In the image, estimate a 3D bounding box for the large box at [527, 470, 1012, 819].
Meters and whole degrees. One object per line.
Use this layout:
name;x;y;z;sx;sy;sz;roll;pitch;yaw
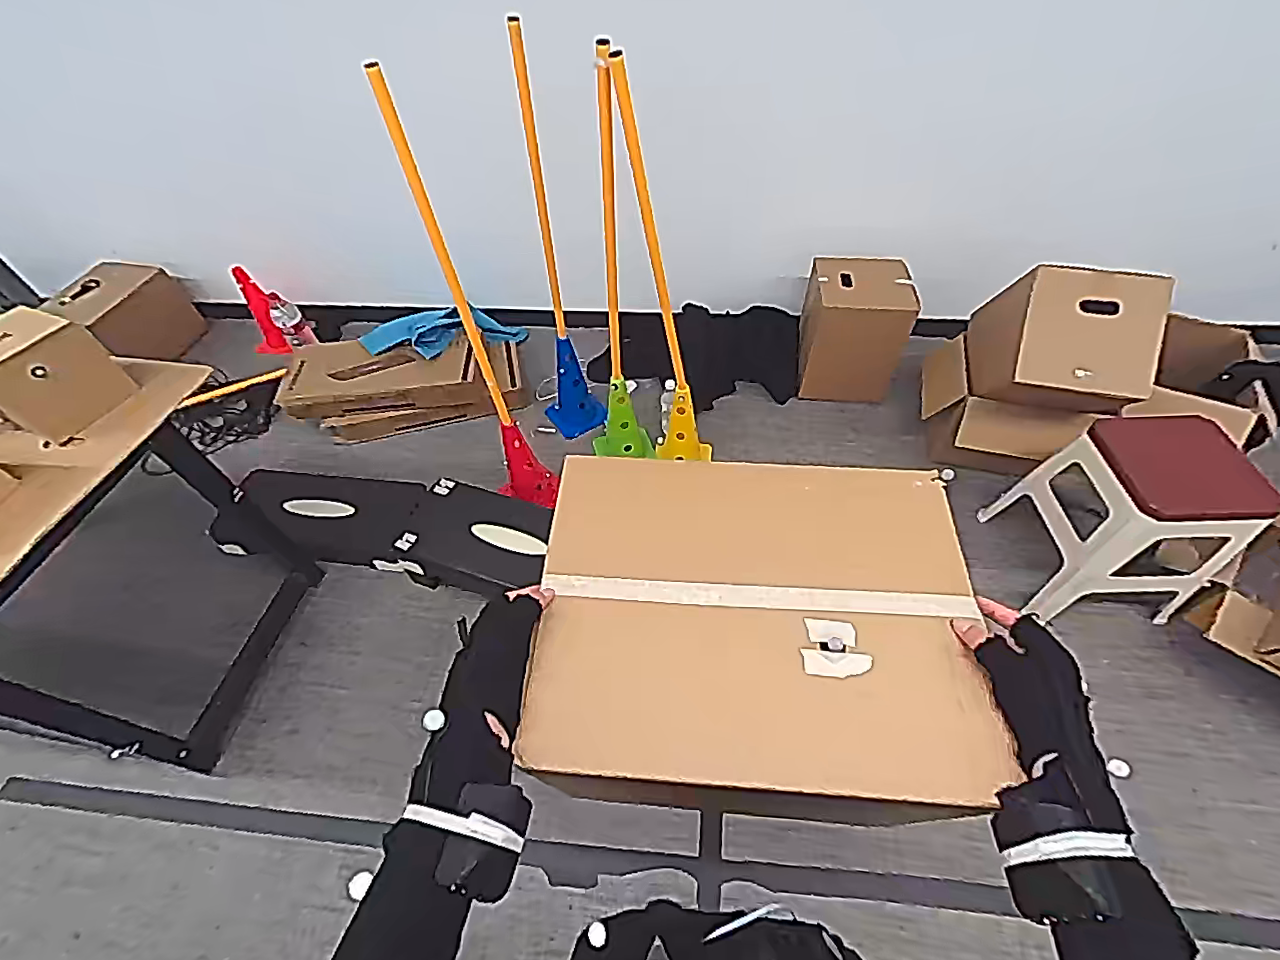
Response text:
large box;0.113;0.205;0.645;0.408;0.320;0.320;3;57;4
